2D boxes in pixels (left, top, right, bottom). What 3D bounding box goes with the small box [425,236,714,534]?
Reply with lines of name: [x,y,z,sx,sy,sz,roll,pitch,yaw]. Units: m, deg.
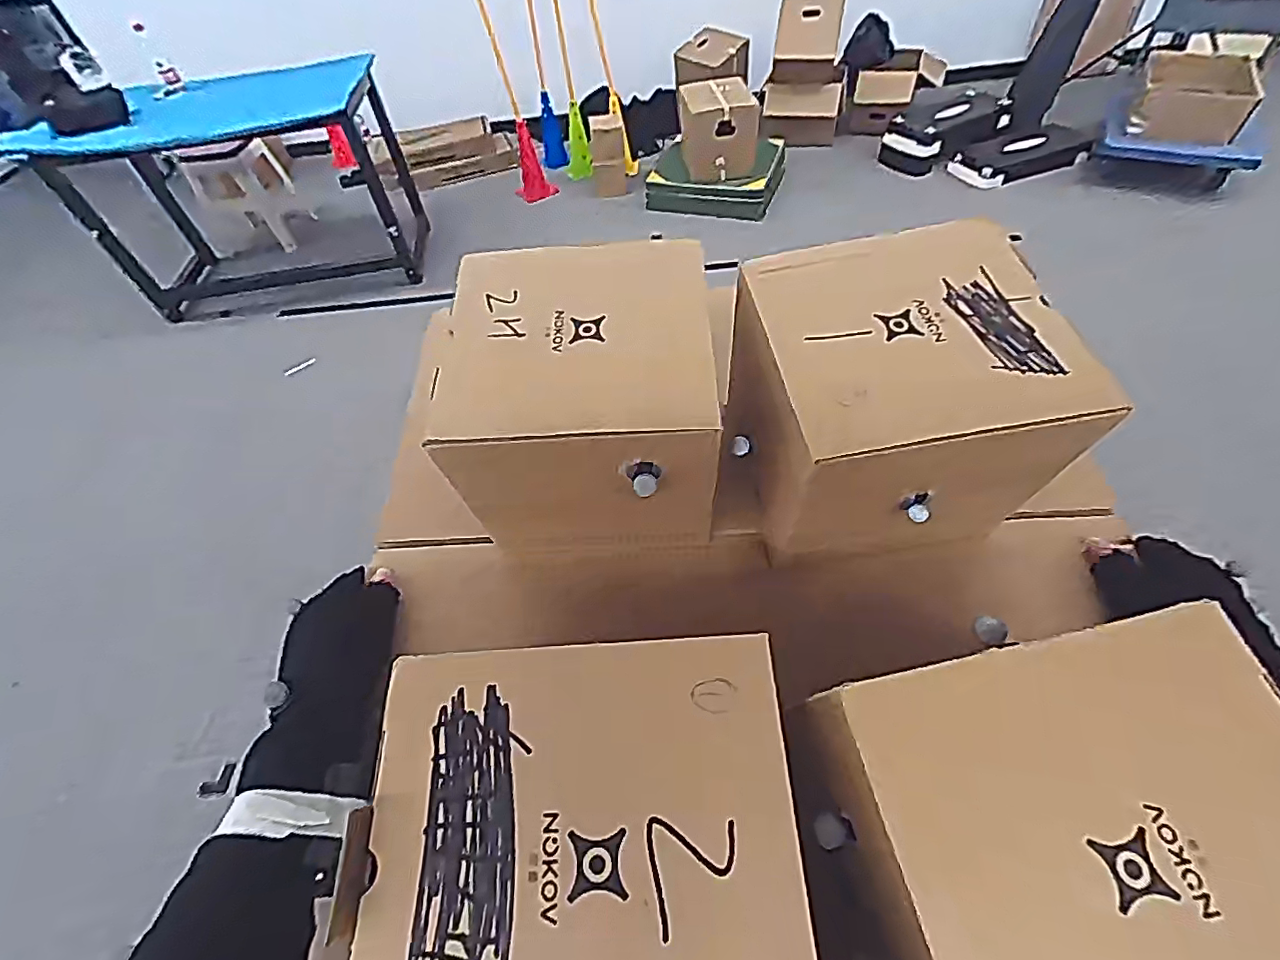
small box: [-0.038,-0.065,0.429,0.179,0.176,0.168,-2,60,4]

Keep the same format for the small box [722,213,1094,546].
small box: [0.166,-0.064,0.410,0.179,0.176,0.168,-10,60,1]
